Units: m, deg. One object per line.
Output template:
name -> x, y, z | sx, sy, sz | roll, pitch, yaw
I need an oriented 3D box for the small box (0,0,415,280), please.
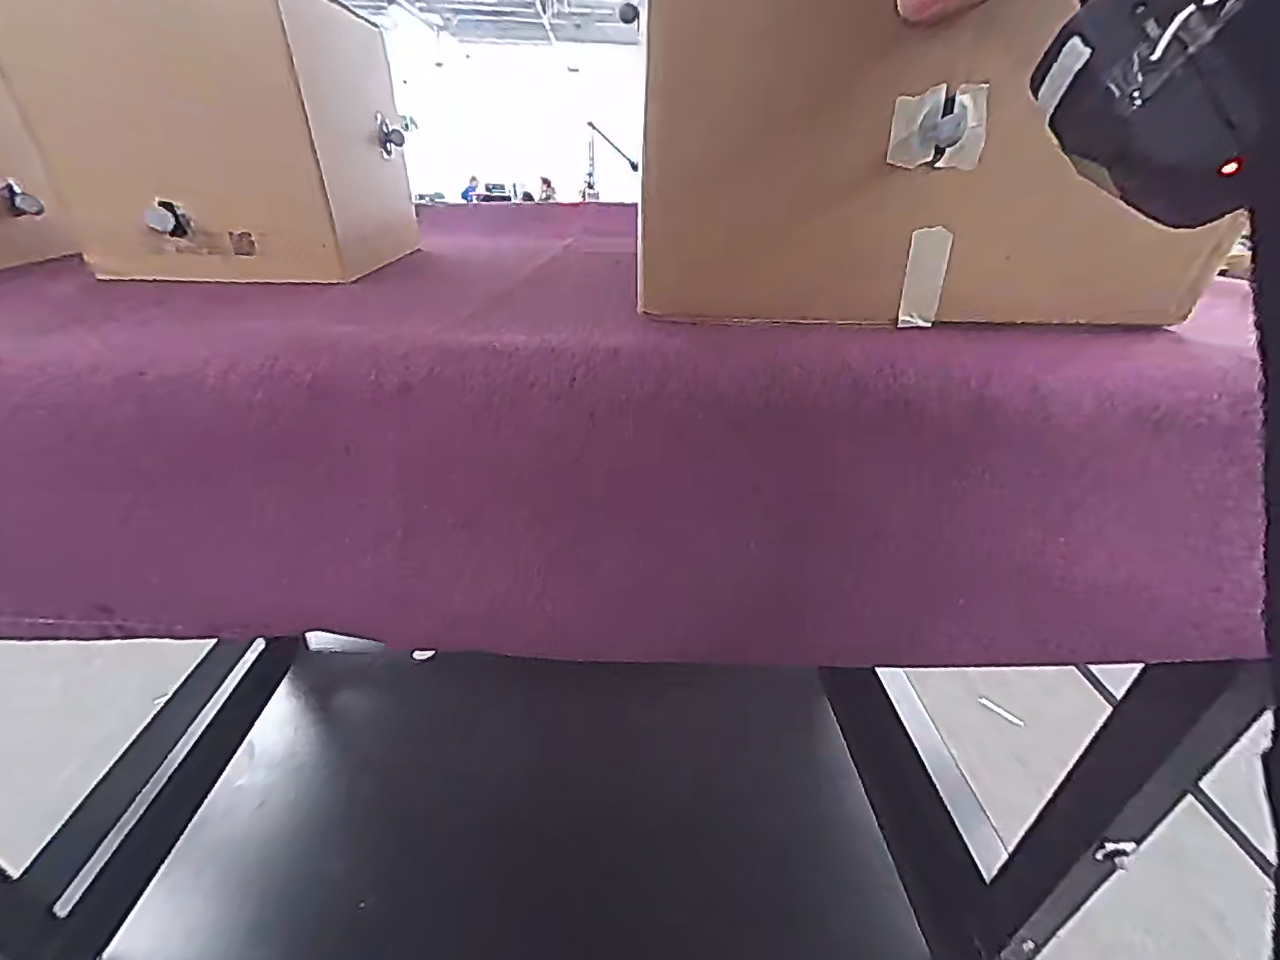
small box -> -0.279, -0.252, 0.396 | 0.168, 0.176, 0.179 | -1, 31, -3
